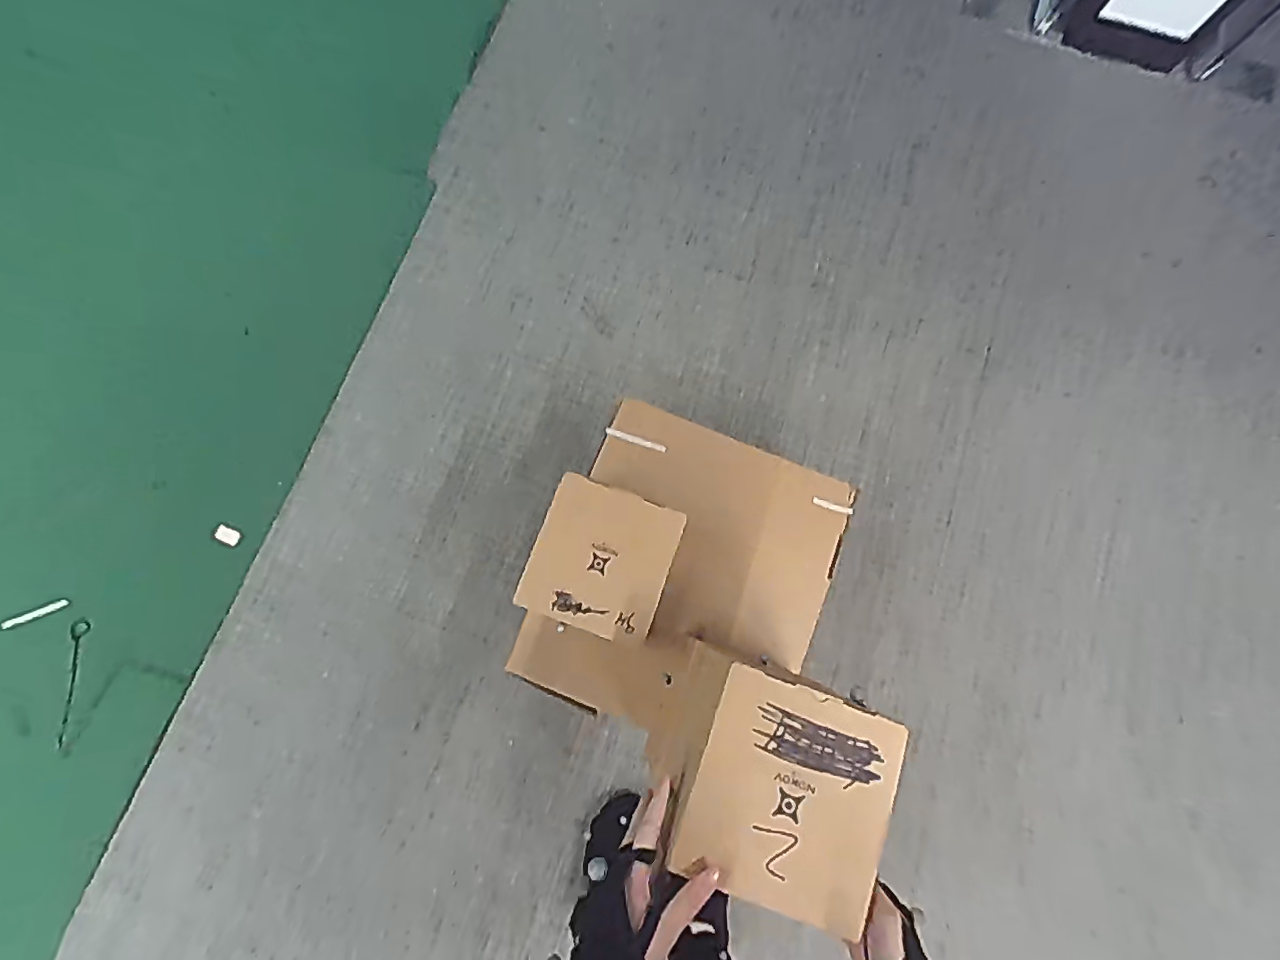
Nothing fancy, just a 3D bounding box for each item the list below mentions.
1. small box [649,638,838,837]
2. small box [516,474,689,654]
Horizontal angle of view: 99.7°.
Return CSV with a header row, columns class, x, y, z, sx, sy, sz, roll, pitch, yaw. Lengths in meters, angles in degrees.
class,x,y,z,sx,sy,sz,roll,pitch,yaw
small box,0.120,0.310,0.692,0.179,0.176,0.168,19,77,2
small box,-0.048,0.116,0.729,0.168,0.176,0.179,20,76,3
